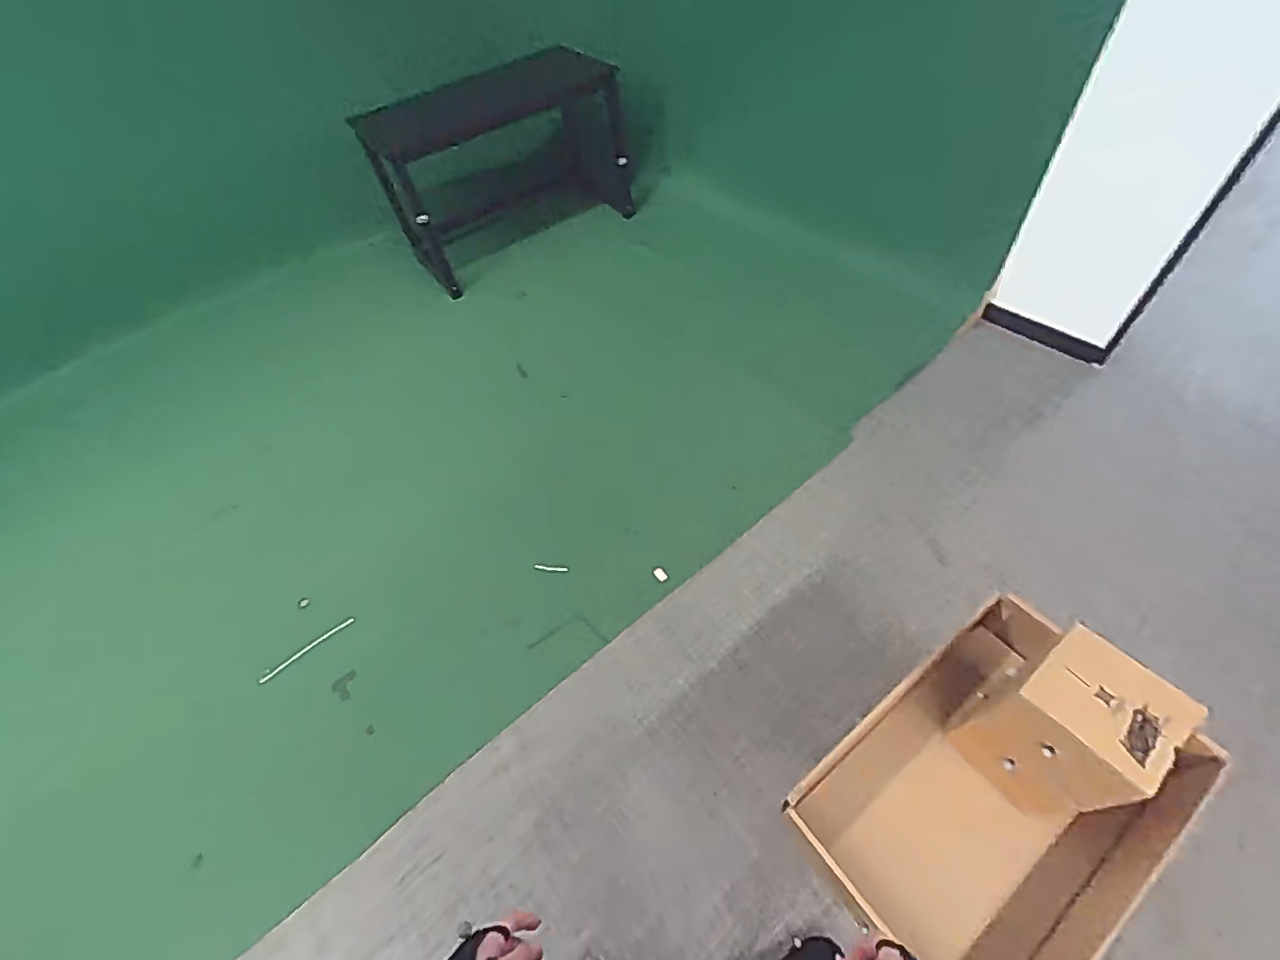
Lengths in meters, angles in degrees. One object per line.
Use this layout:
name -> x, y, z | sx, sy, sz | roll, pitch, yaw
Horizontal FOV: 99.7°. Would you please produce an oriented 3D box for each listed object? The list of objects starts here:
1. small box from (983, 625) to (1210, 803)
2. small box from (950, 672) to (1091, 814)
small box -> 0.676, 0.362, 0.824 | 0.168, 0.176, 0.179 | -36, 56, -18
small box -> 0.698, 0.458, 0.955 | 0.168, 0.176, 0.179 | -34, 56, -17
